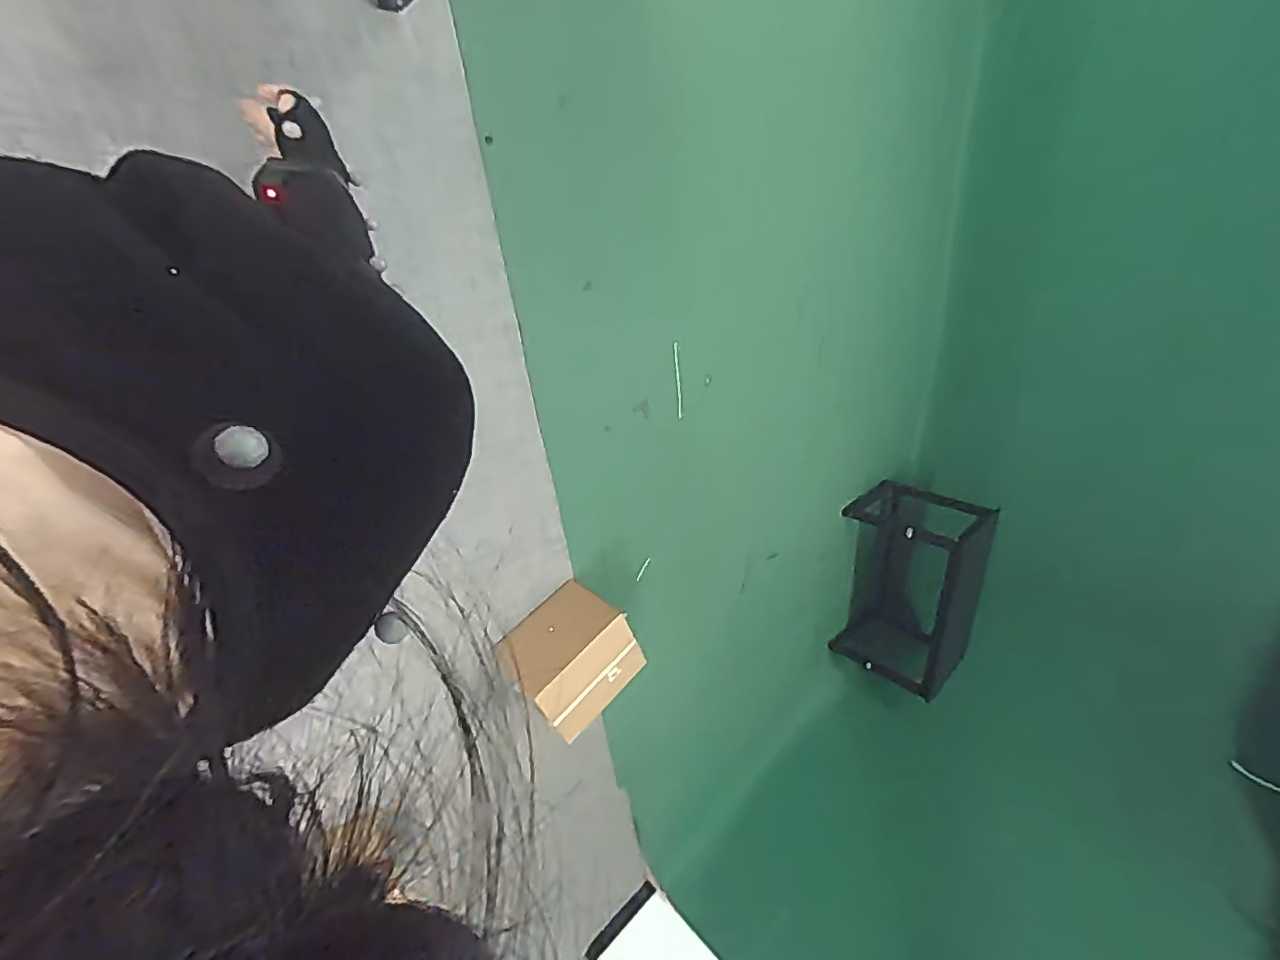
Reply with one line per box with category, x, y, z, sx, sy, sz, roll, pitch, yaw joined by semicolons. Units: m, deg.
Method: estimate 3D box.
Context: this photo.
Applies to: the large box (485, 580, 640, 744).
large box;-0.276;0.650;1.974;0.408;0.320;0.320;-41;131;-27
